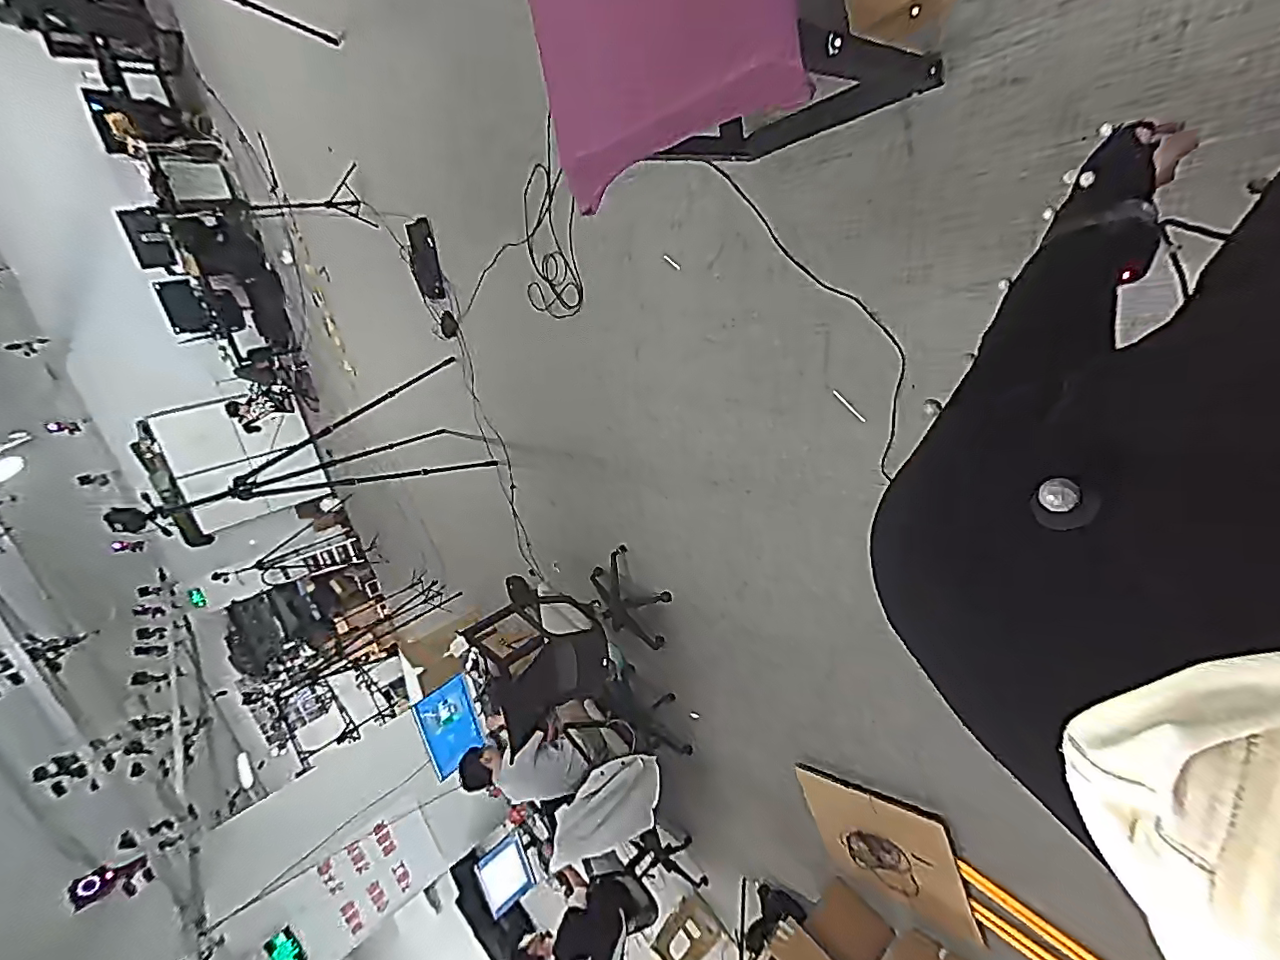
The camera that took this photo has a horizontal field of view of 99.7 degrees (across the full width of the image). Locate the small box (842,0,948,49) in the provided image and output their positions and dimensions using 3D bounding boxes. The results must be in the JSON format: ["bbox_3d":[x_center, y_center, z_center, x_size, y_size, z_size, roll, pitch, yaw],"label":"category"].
[{"bbox_3d":[0.579,-1.121,1.224,0.179,0.176,0.168,-1,110,51],"label":"small box"}]
